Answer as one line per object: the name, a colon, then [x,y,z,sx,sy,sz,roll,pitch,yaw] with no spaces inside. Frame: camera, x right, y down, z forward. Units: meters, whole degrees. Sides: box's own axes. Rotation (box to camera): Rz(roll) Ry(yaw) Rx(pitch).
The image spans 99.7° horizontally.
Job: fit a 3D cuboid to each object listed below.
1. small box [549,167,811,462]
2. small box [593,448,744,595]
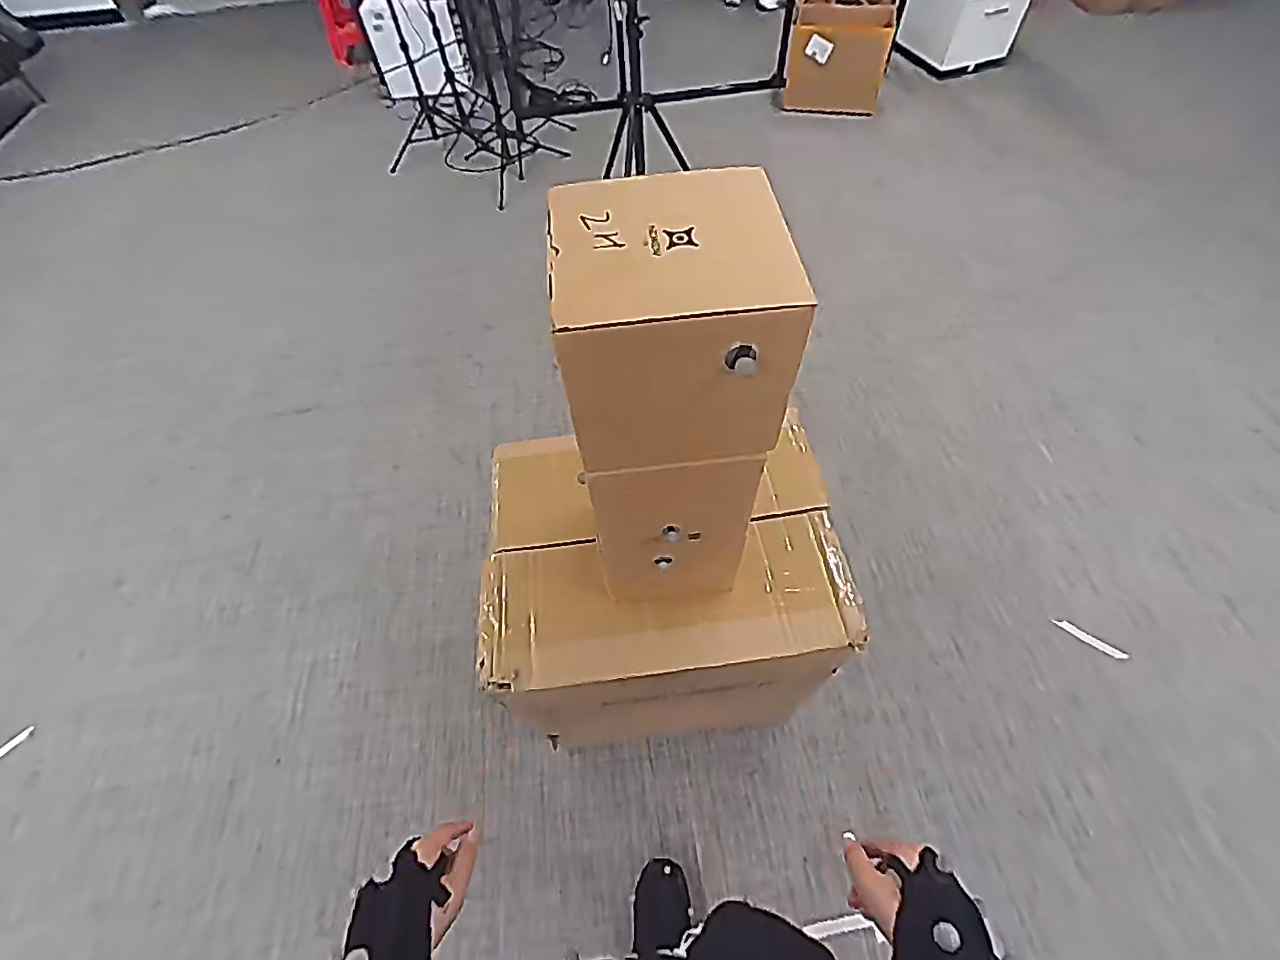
small box: [0.023,-0.133,0.462,0.179,0.176,0.168,-7,57,-1]
small box: [0.034,0.047,0.738,0.179,0.176,0.168,-6,57,-1]
